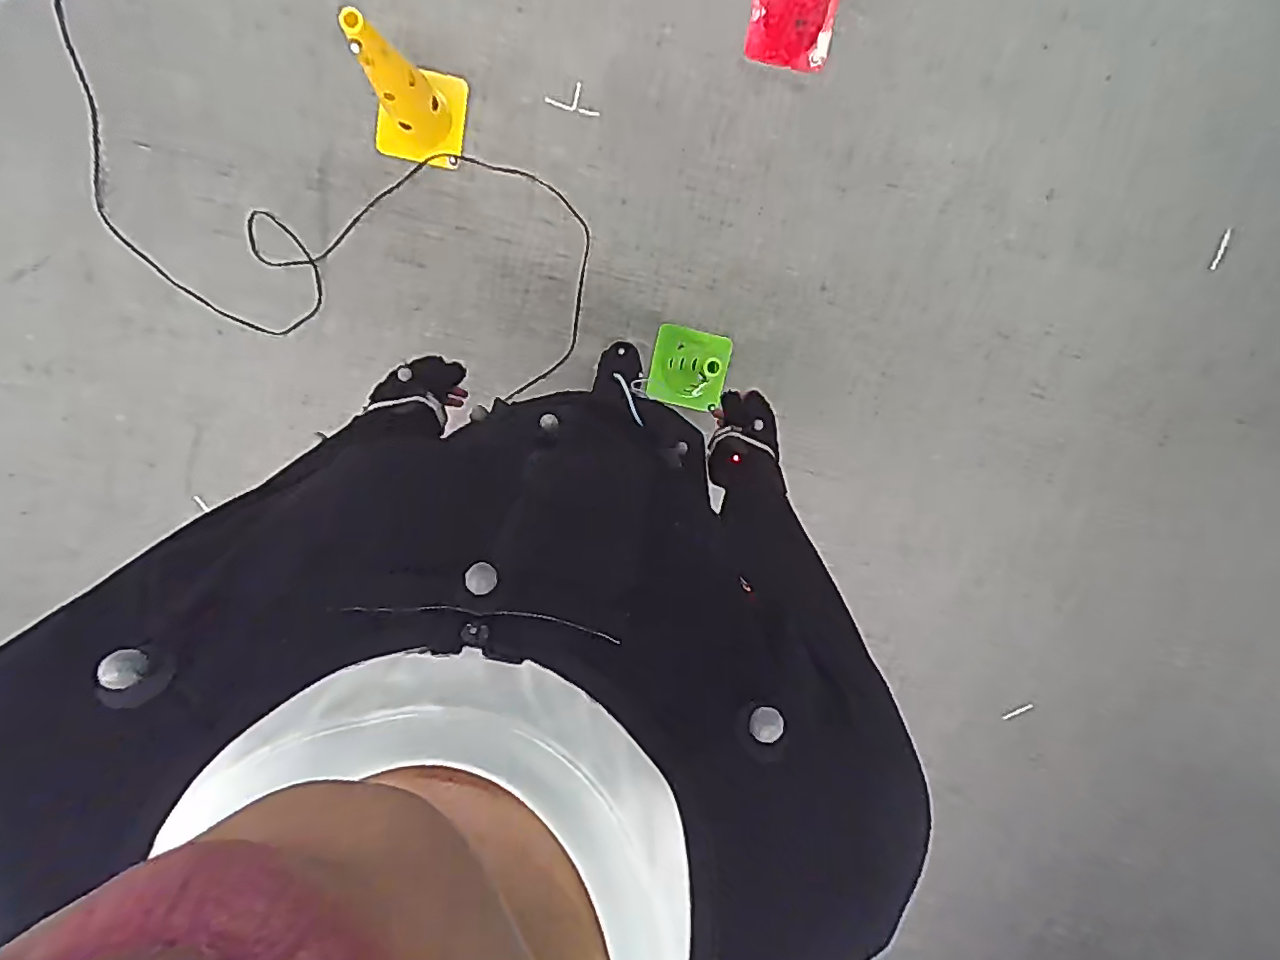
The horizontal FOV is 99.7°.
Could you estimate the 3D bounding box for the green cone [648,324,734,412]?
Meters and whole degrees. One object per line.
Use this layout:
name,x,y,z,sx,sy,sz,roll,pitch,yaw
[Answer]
green cone,0.139,-0.264,1.258,0.202,0.368,0.200,12,99,-4

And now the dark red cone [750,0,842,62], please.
dark red cone,0.372,-1.062,1.094,0.202,0.394,0.201,8,99,-4
